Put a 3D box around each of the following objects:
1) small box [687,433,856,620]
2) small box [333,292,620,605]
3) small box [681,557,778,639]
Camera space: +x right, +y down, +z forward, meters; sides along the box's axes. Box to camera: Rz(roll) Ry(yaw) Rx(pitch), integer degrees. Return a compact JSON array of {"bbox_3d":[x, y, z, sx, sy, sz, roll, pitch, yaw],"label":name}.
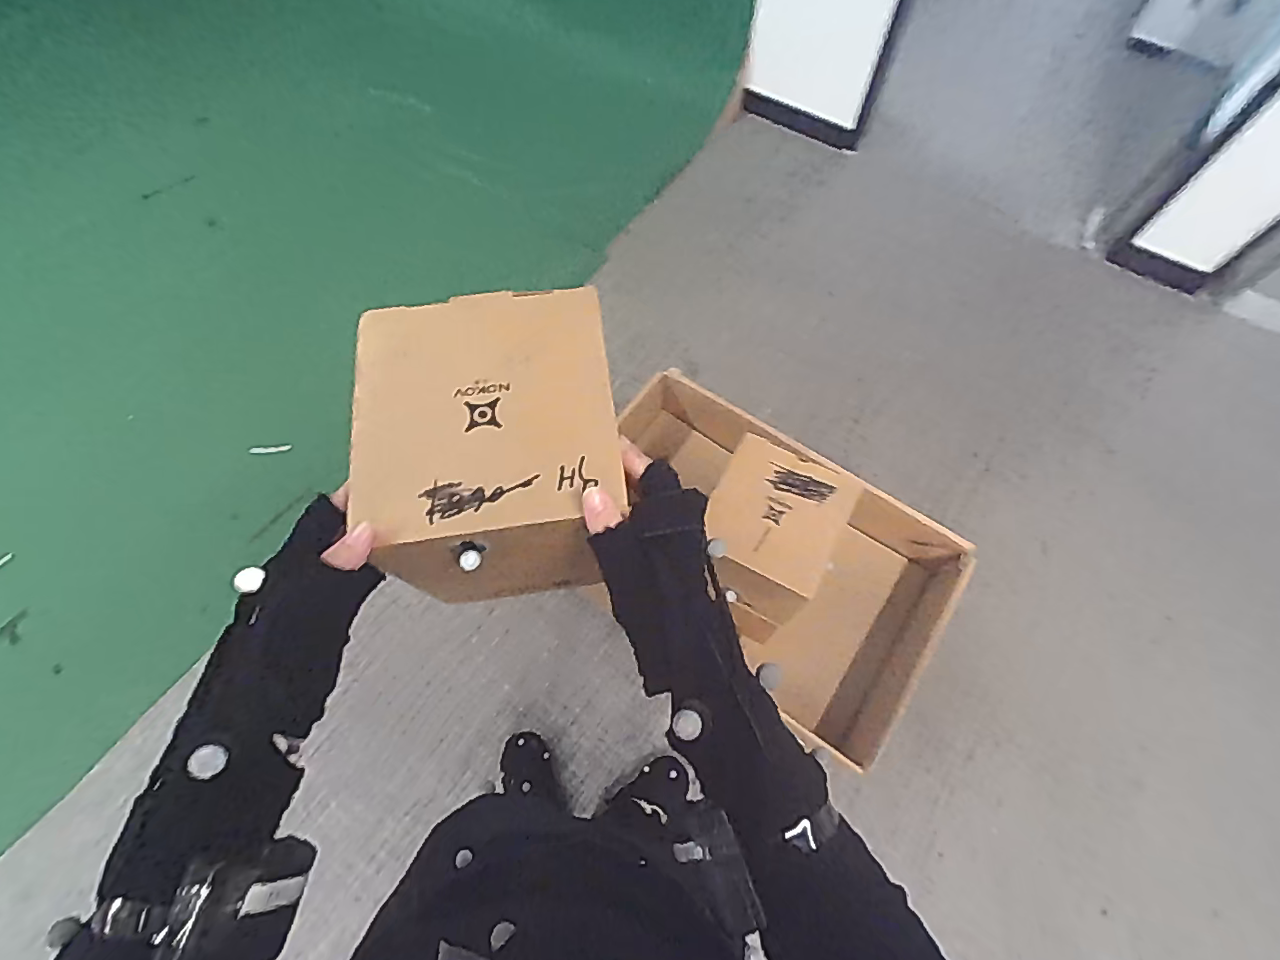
[{"bbox_3d":[0.172,0.072,0.762,0.168,0.176,0.179,27,69,15],"label":"small box"},{"bbox_3d":[-0.109,-0.015,0.425,0.168,0.176,0.179,-9,66,-3],"label":"small box"},{"bbox_3d":[0.175,0.142,0.910,0.168,0.176,0.179,27,69,14],"label":"small box"}]
